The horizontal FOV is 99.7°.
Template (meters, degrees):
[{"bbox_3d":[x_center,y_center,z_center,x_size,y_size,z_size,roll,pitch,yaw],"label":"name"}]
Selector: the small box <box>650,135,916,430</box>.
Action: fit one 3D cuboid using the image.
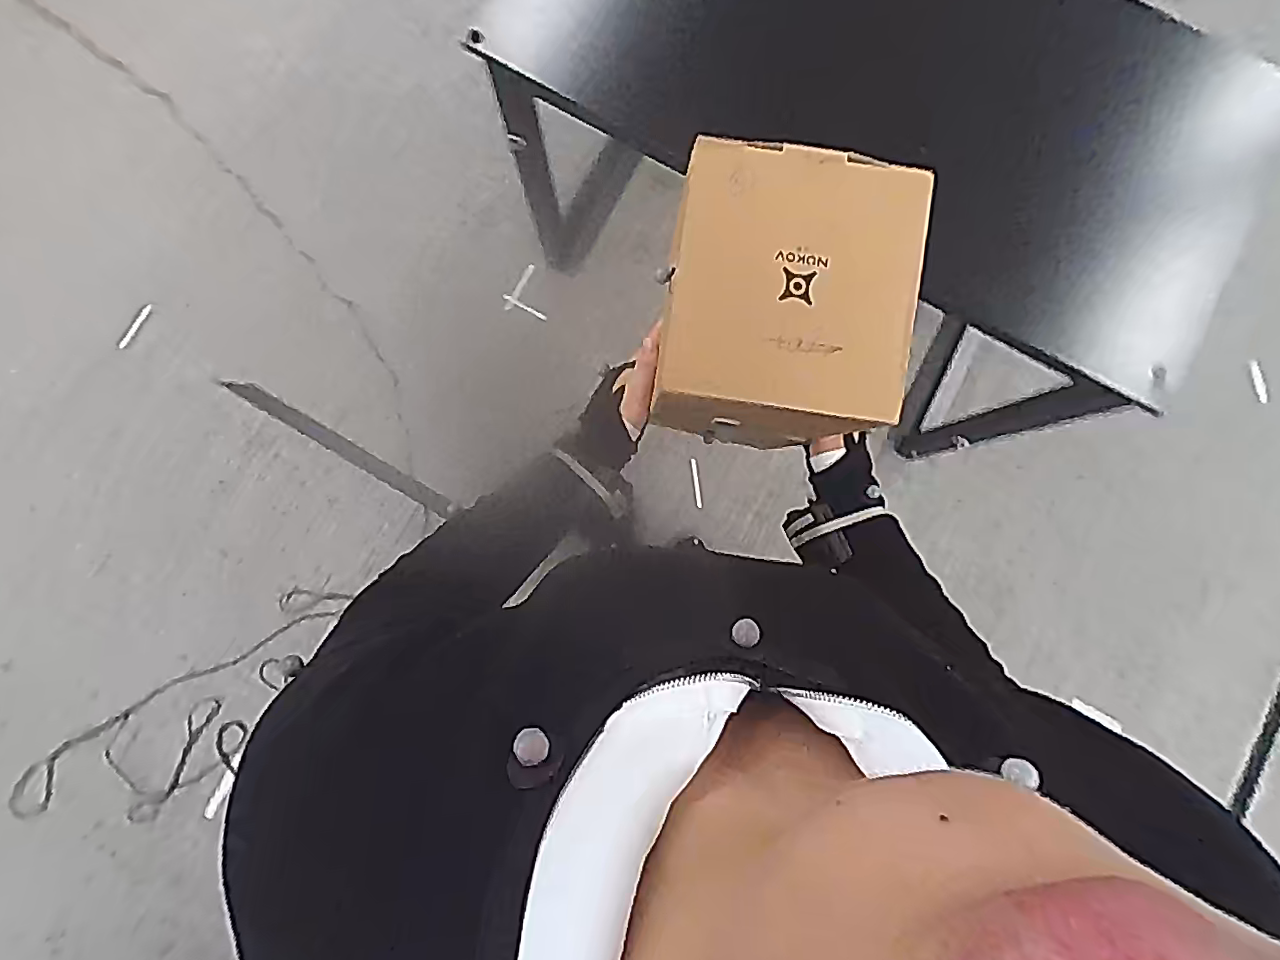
[{"bbox_3d":[0.100,-0.143,0.453,0.168,0.176,0.179,7,91,-1],"label":"small box"}]
